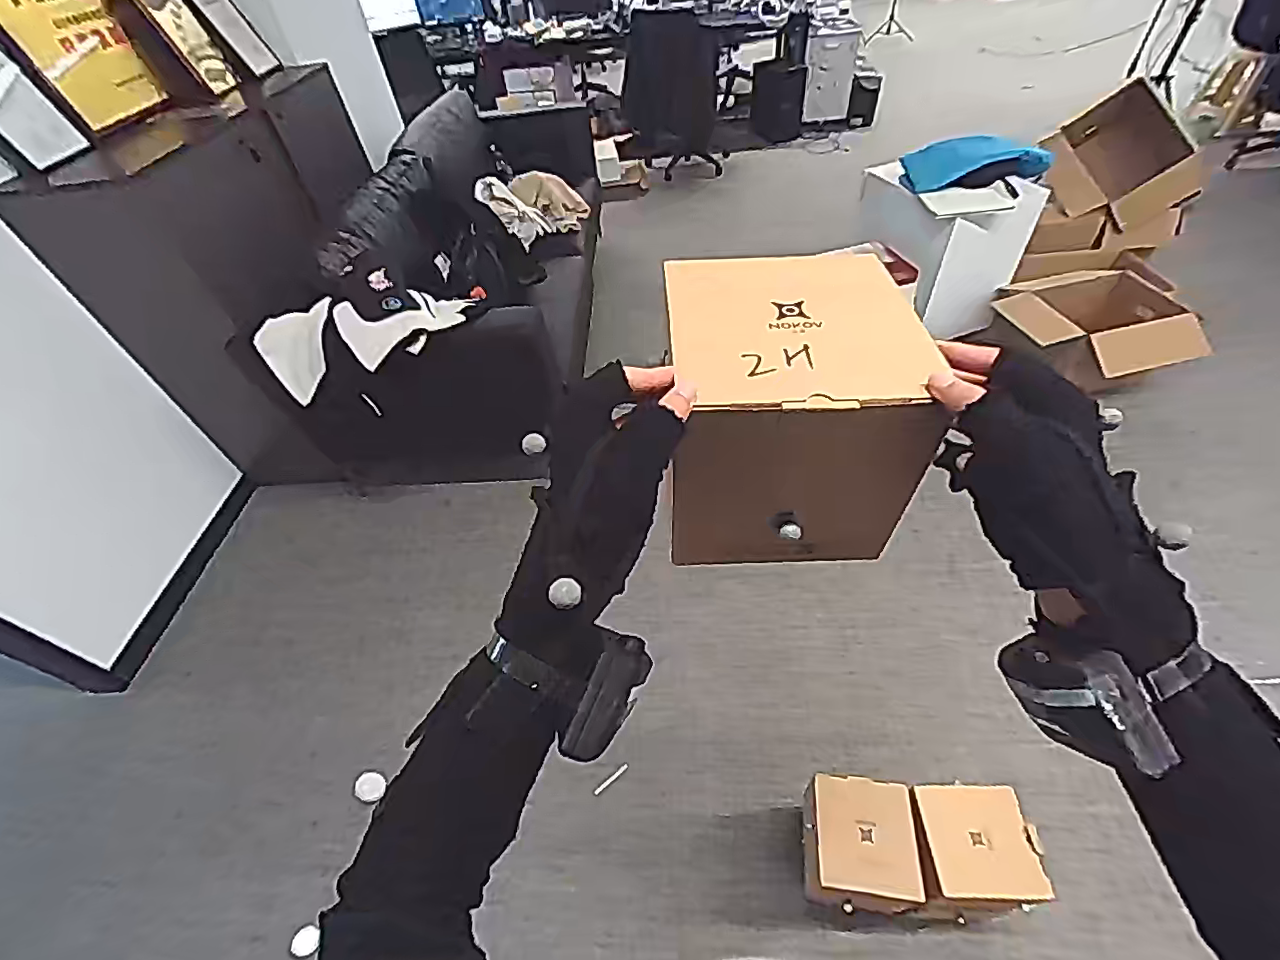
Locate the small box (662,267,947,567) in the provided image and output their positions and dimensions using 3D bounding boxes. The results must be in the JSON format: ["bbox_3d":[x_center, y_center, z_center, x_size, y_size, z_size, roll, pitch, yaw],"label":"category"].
[{"bbox_3d":[0.101,-0.050,0.431,0.168,0.176,0.179,-1,47,2],"label":"small box"}]
